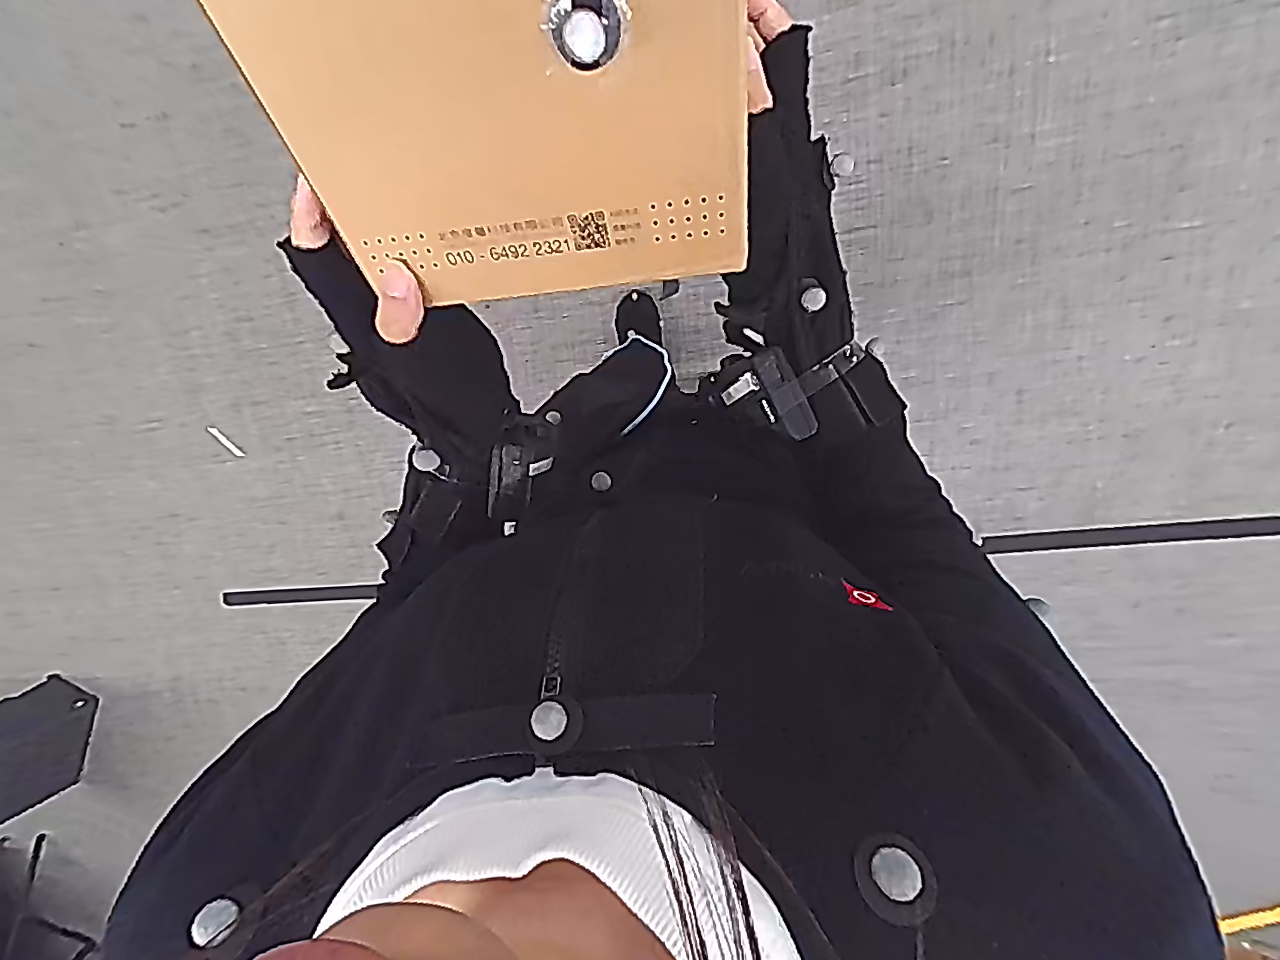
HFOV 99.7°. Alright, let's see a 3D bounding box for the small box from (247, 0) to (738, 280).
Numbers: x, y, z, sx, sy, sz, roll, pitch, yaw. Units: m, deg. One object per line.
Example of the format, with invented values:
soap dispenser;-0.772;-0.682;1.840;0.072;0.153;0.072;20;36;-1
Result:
small box;-0.042;-0.208;0.245;0.168;0.179;0.176;-2;142;10
